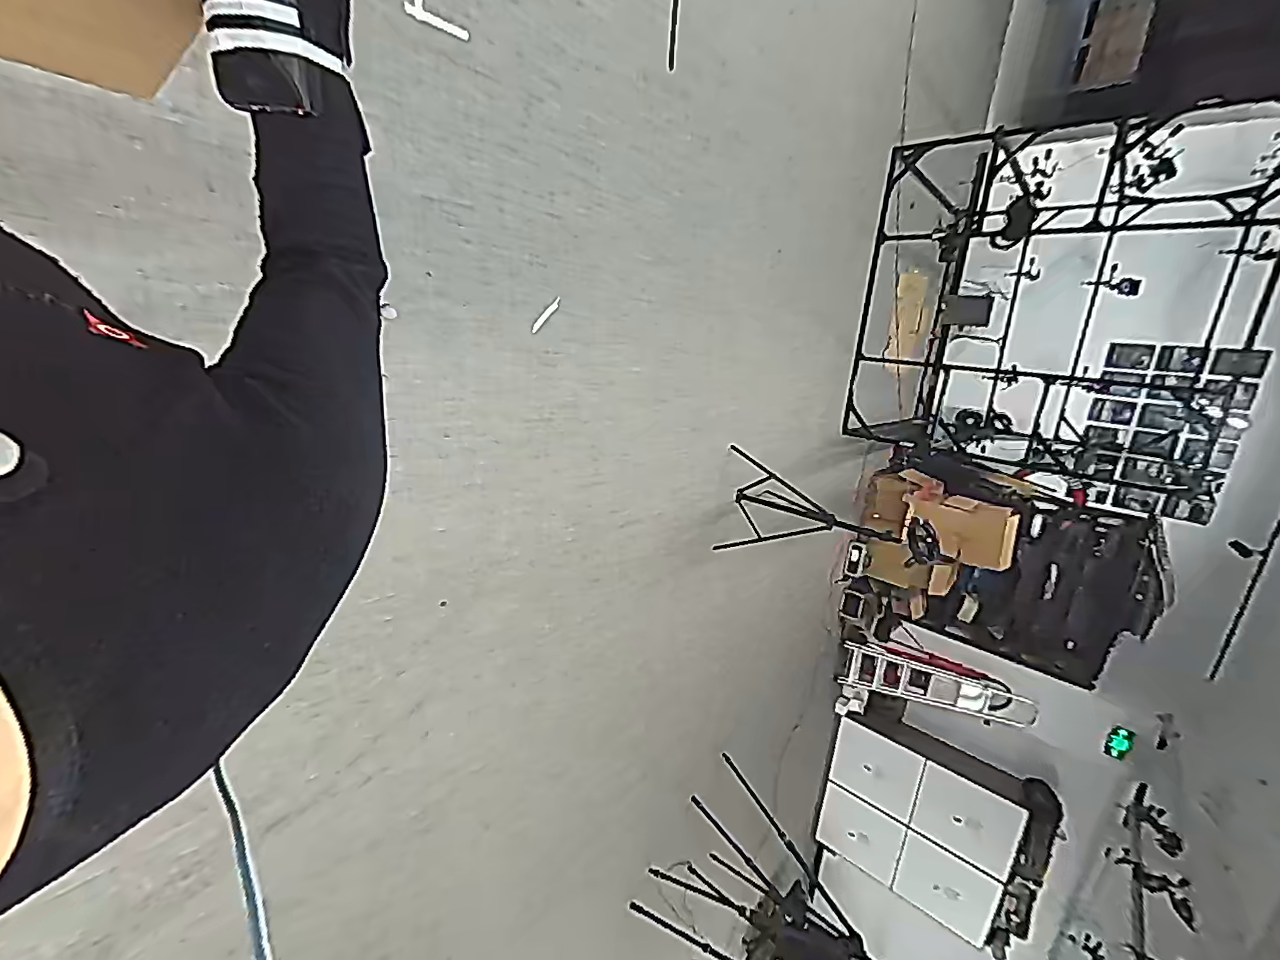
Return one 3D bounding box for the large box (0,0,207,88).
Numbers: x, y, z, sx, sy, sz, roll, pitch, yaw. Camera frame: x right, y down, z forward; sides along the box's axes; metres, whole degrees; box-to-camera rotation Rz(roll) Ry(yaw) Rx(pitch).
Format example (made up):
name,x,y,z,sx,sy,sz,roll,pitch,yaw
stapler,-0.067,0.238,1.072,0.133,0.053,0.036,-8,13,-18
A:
name,x,y,z,sx,sy,sz,roll,pitch,yaw
large box,-0.477,-0.463,0.241,0.408,0.320,0.320,-13,109,-49
